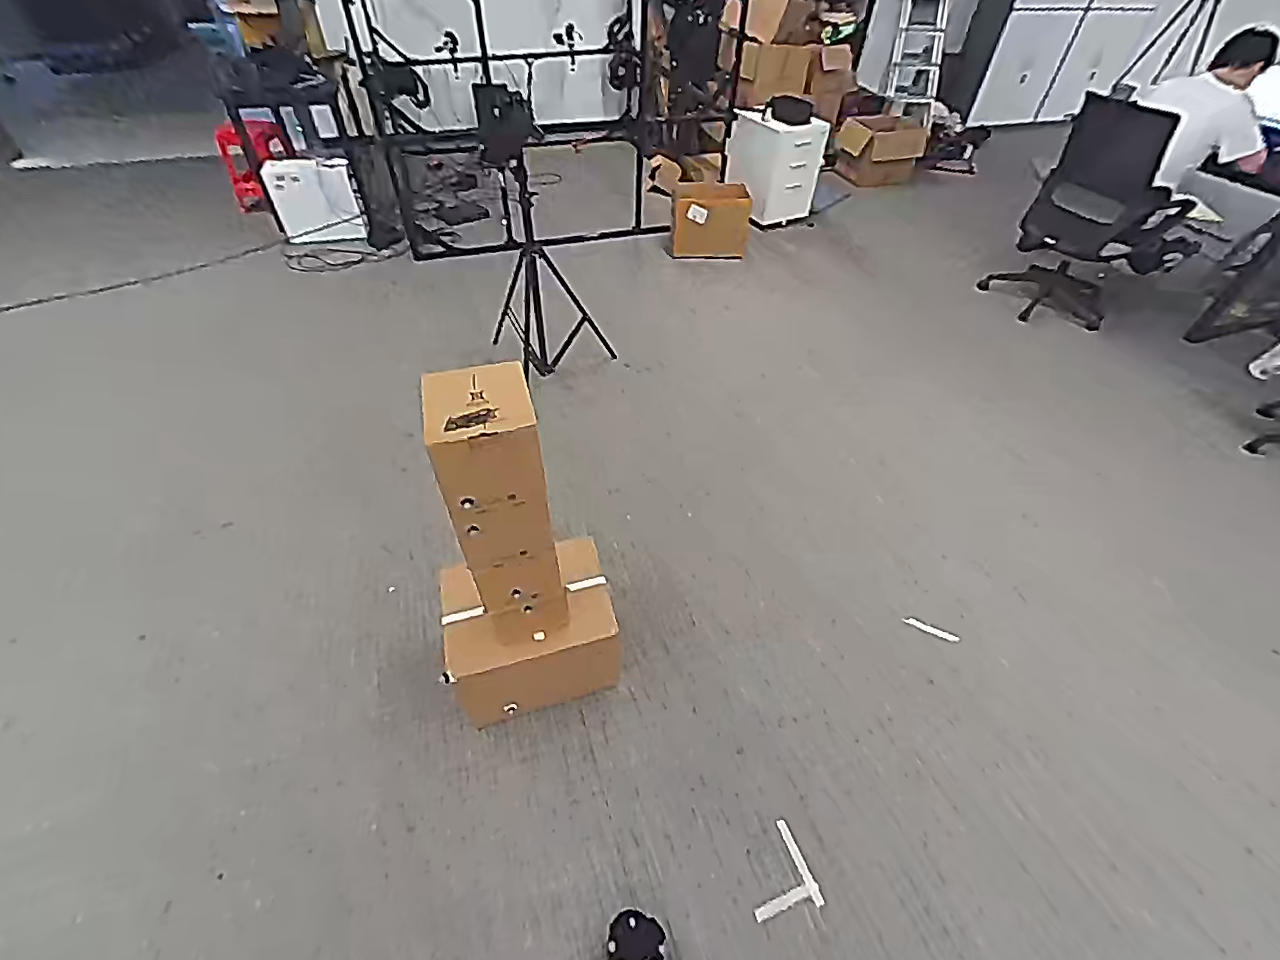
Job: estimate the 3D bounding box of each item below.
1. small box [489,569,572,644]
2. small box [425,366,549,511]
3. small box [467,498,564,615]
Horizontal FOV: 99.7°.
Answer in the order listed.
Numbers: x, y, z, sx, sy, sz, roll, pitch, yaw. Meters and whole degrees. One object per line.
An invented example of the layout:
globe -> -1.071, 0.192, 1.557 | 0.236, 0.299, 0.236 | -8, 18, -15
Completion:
small box -> -0.267, 0.261, 1.277 | 0.179, 0.176, 0.168 | -13, 50, -15
small box -> -0.254, -0.064, 0.910 | 0.168, 0.176, 0.179 | -12, 48, -13
small box -> -0.264, 0.157, 1.153 | 0.168, 0.176, 0.179 | -13, 50, -14
